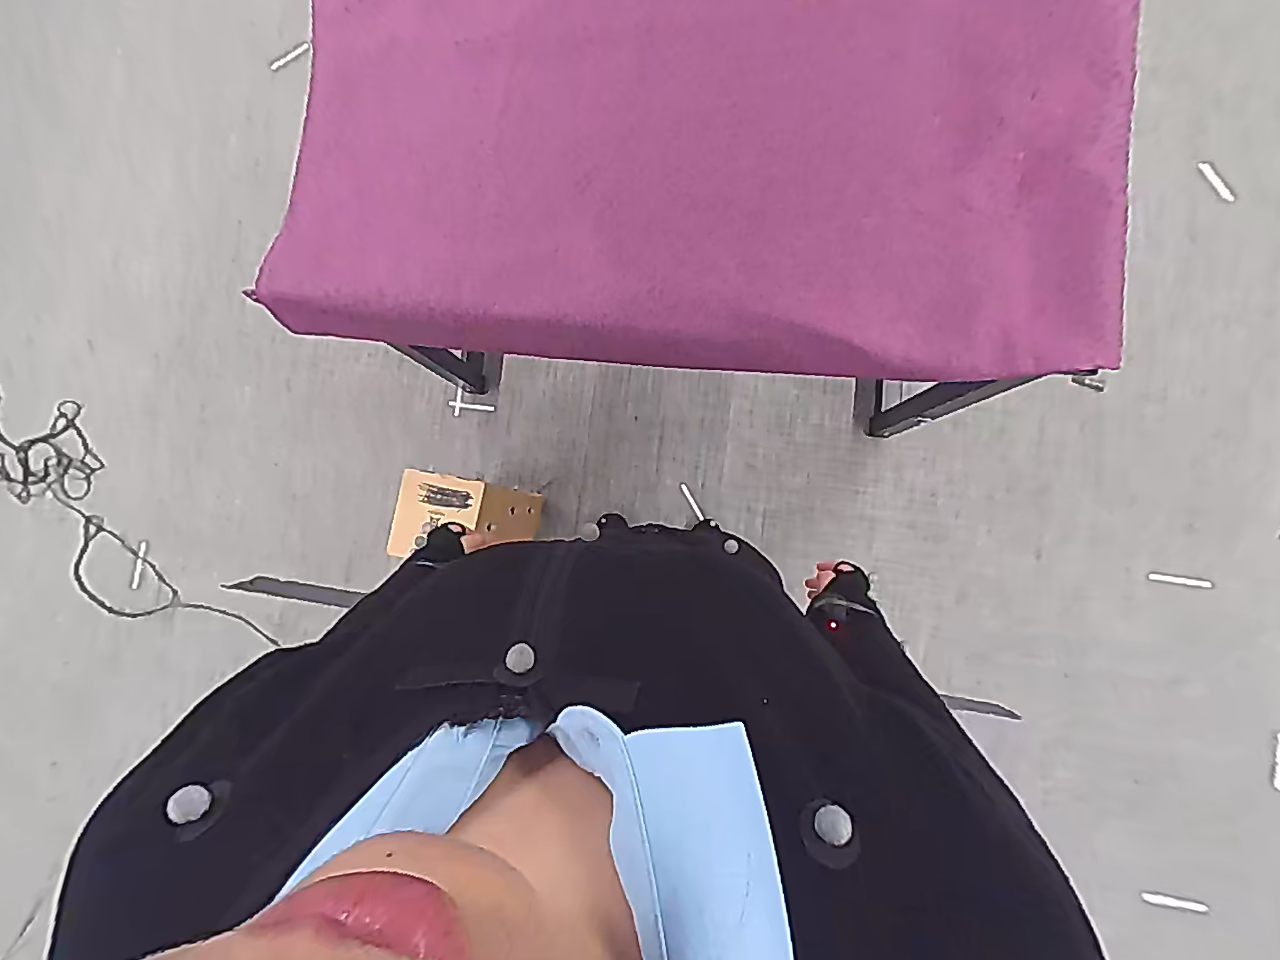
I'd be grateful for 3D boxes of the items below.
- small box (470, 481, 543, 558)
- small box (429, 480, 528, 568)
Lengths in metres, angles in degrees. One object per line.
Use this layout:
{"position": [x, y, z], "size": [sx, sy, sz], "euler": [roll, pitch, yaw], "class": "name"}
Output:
{"position": [-0.371, 0.110, 1.448], "size": [0.168, 0.176, 0.179], "euler": [14, 87, 4], "class": "small box"}
{"position": [-0.373, 0.103, 1.283], "size": [0.168, 0.176, 0.179], "euler": [8, 87, 4], "class": "small box"}
